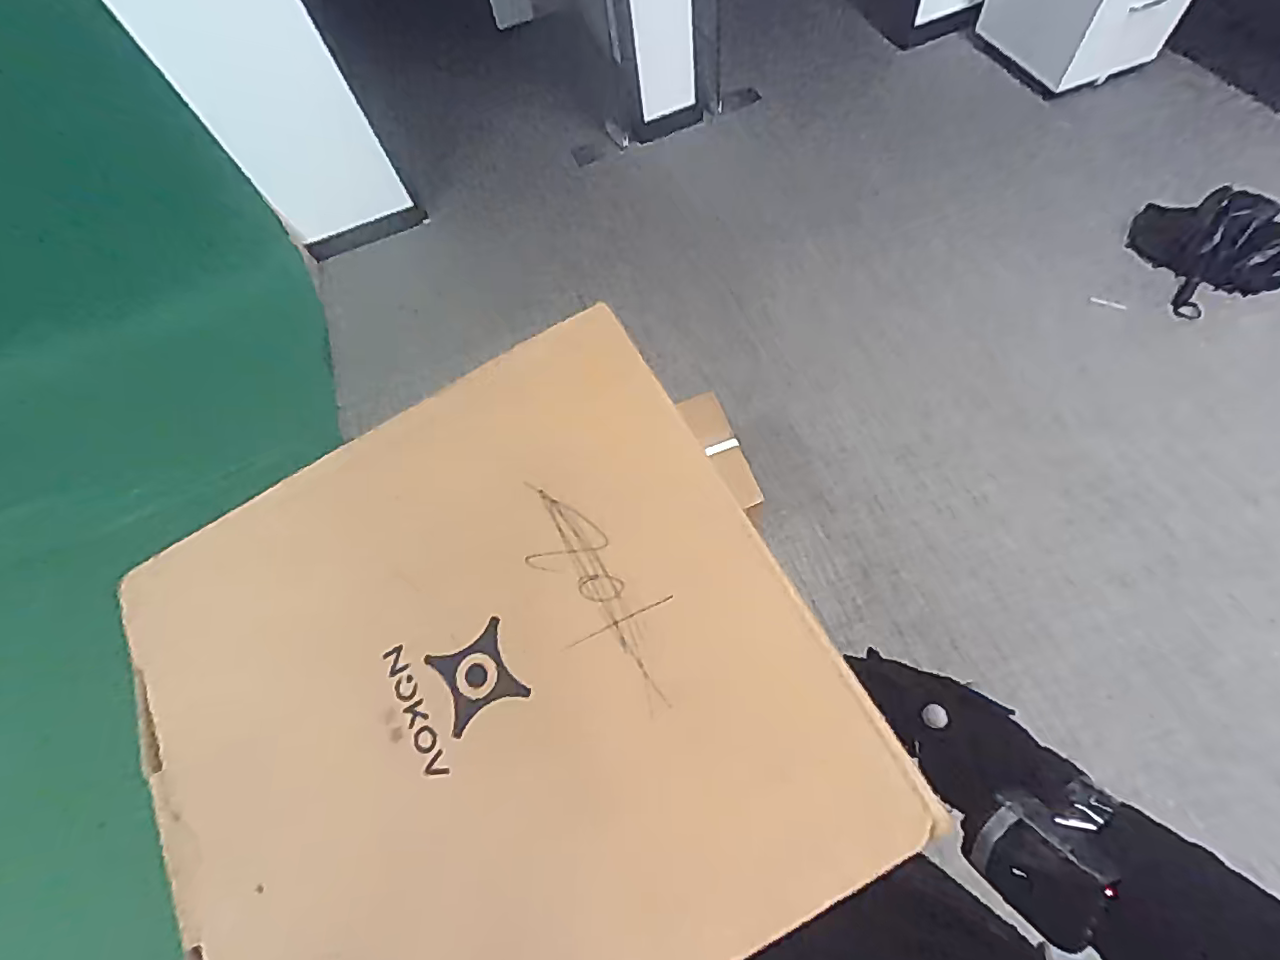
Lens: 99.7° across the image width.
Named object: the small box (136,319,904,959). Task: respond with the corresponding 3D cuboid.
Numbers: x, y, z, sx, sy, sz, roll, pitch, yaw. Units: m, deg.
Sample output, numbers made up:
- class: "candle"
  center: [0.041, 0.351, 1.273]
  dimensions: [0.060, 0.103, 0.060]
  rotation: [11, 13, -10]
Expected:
- class: "small box"
  center: [-0.037, 0.077, 0.226]
  dimensions: [0.179, 0.176, 0.168]
  rotation: [-30, 73, -3]
